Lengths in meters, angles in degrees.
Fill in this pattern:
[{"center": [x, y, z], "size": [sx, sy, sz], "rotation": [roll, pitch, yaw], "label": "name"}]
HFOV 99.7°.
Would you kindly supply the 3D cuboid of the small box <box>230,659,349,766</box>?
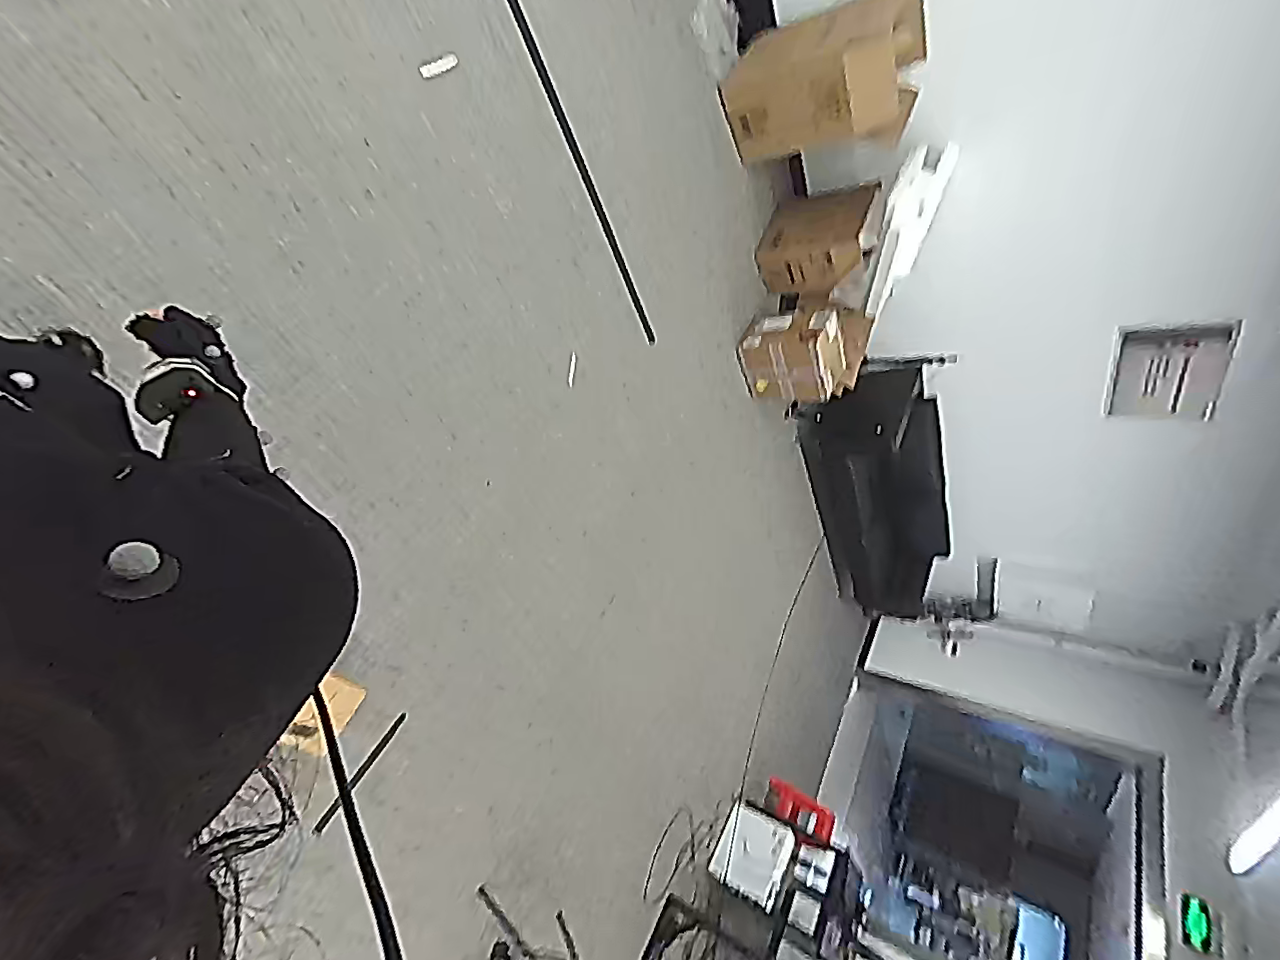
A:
[{"center": [-0.898, 0.588, 1.379], "size": [0.179, 0.176, 0.168], "rotation": [-61, 139, -29], "label": "small box"}]
